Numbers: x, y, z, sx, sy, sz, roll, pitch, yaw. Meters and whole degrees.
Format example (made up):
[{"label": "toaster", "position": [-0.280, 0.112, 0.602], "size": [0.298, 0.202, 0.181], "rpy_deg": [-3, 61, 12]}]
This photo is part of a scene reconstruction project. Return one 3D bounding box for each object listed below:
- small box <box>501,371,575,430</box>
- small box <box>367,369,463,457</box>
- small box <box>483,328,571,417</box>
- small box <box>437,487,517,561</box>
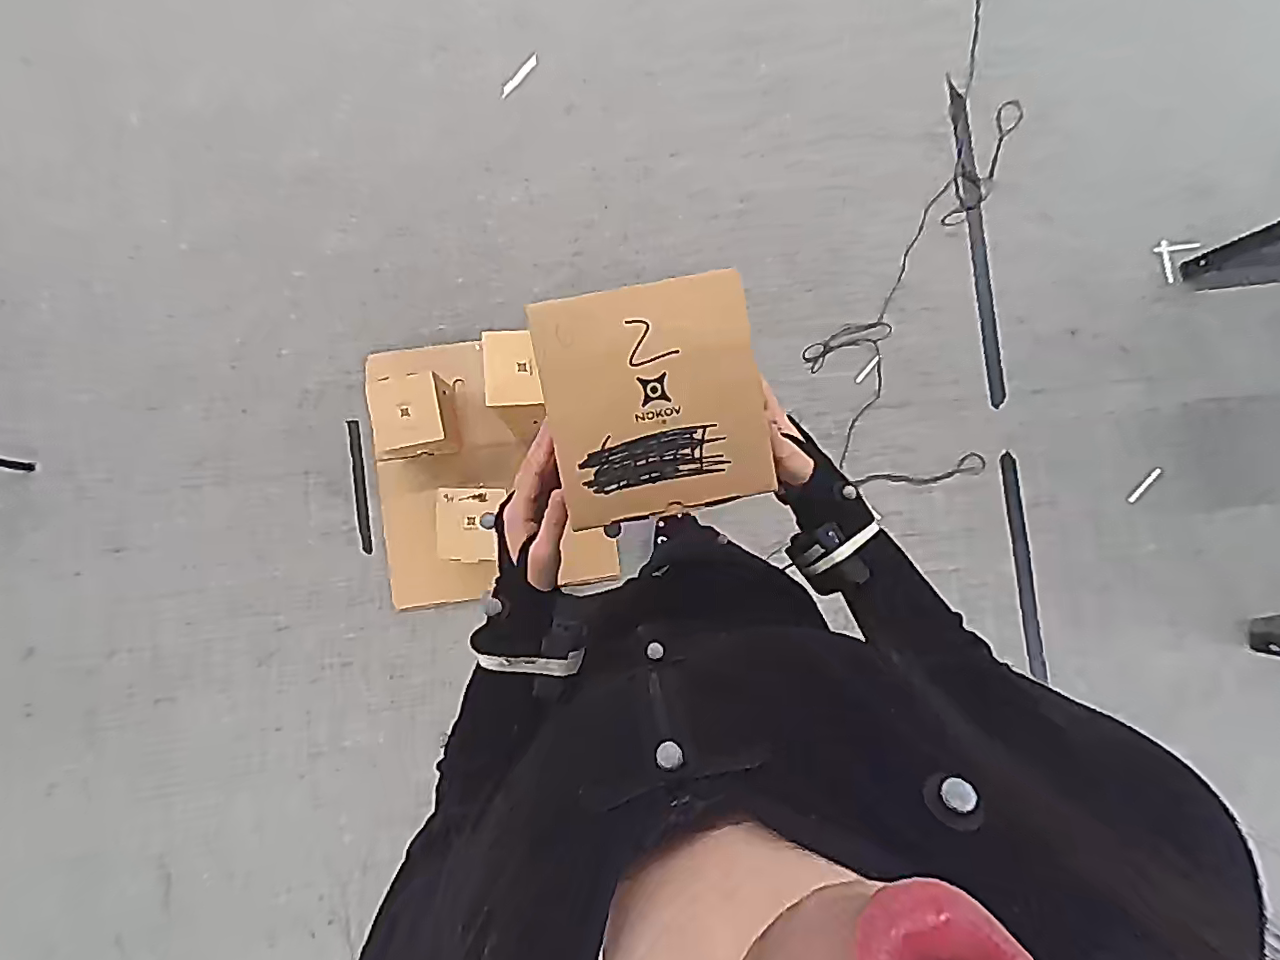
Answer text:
[{"label": "small box", "position": [-0.268, -0.230, 1.410], "size": [0.179, 0.176, 0.168], "rpy_deg": [-7, 88, -6]}, {"label": "small box", "position": [-0.569, -0.166, 1.386], "size": [0.168, 0.176, 0.179], "rpy_deg": [-13, 87, -4]}, {"label": "small box", "position": [-0.255, -0.242, 1.249], "size": [0.179, 0.176, 0.168], "rpy_deg": [-4, 87, -6]}, {"label": "small box", "position": [-0.408, 0.107, 1.378], "size": [0.168, 0.176, 0.179], "rpy_deg": [1, 88, -5]}]
